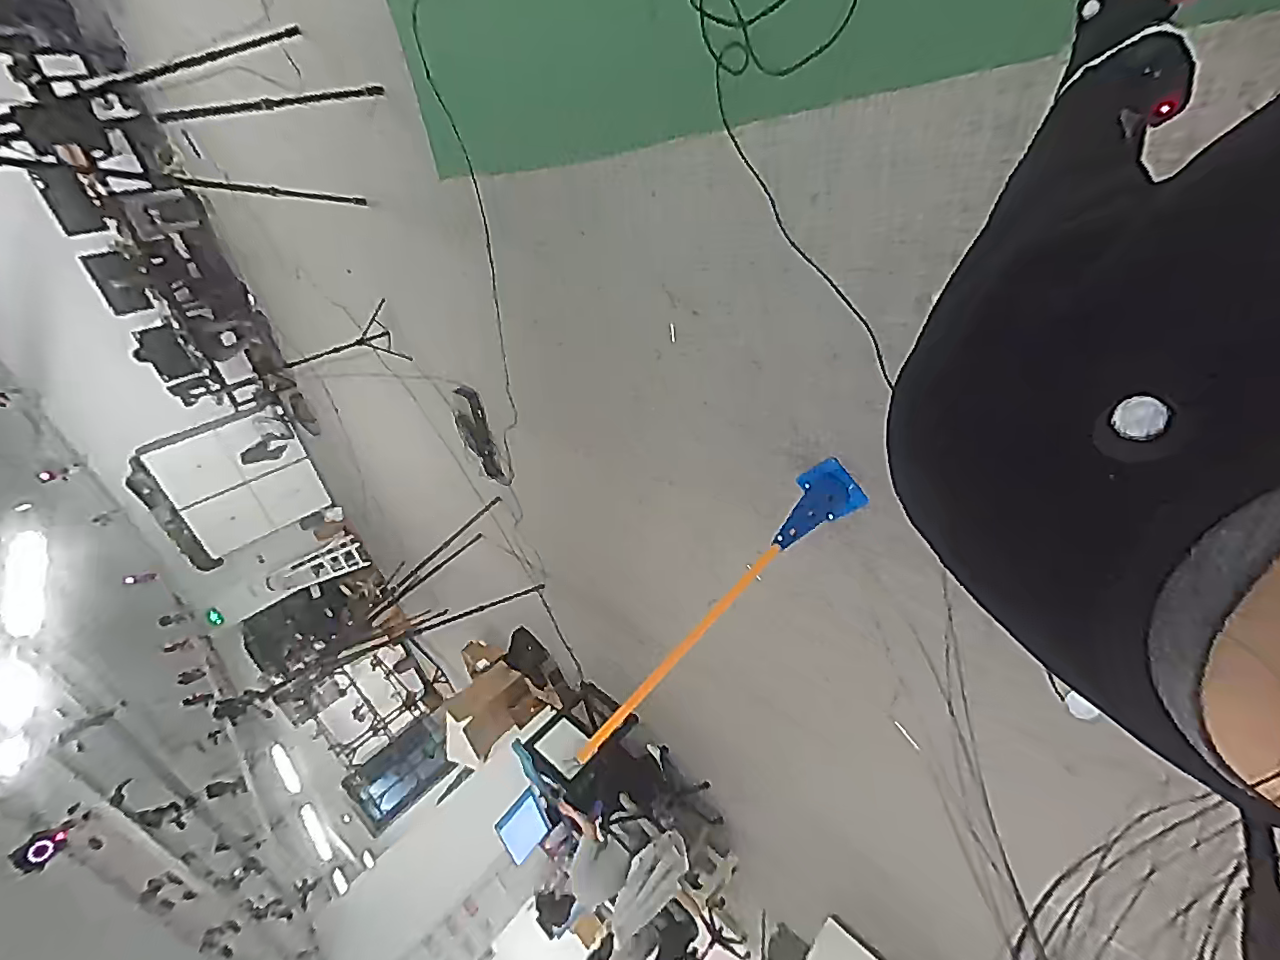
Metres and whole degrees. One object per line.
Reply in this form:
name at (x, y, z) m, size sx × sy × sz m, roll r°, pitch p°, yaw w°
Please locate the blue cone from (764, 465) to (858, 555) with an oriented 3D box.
blue cone at (0.536, 0.135, 1.793) m, size 0.192 × 0.380 × 0.193 m, roll 51°, pitch 147°, yaw 5°
